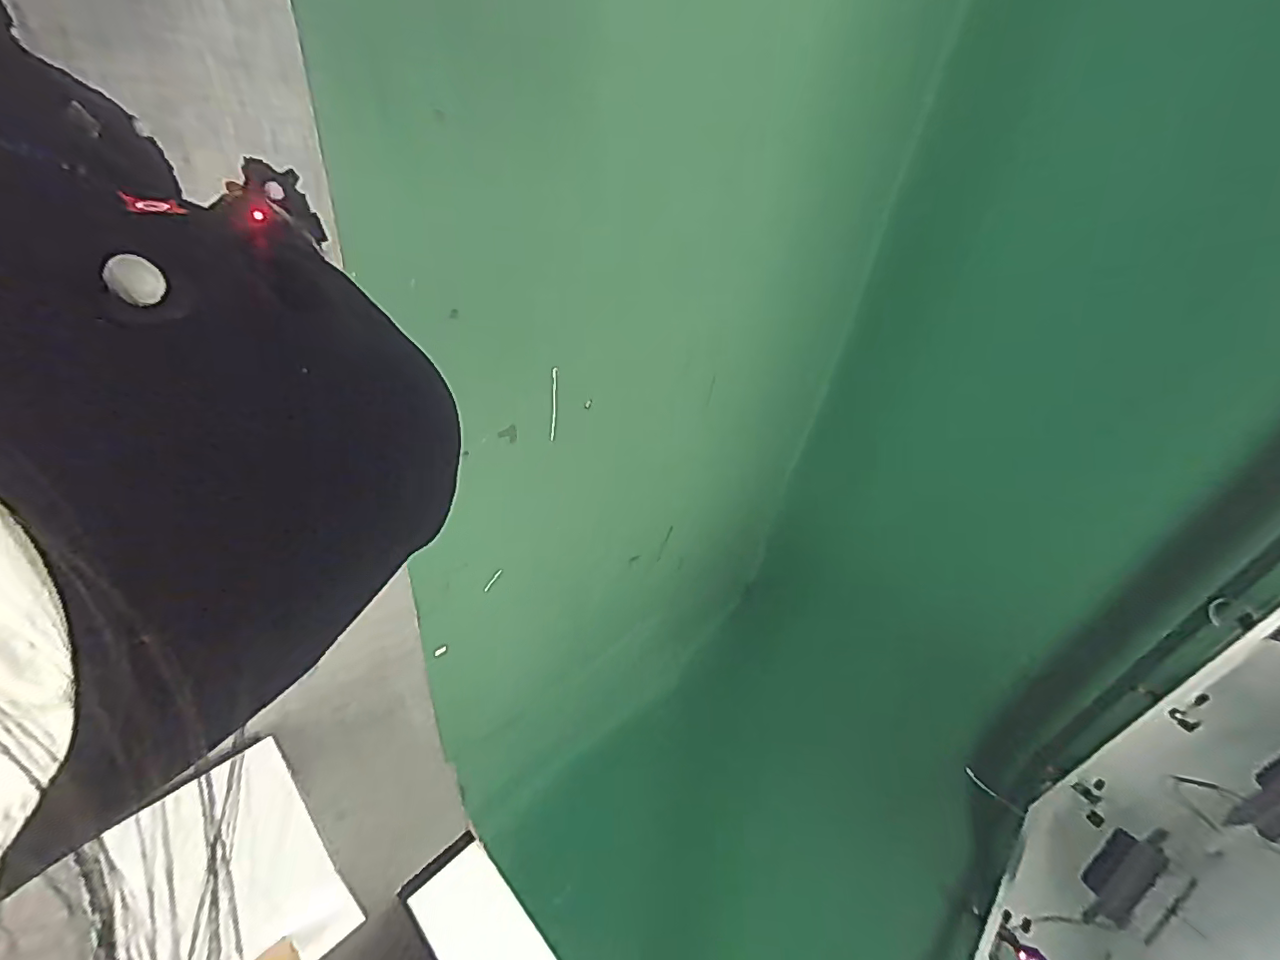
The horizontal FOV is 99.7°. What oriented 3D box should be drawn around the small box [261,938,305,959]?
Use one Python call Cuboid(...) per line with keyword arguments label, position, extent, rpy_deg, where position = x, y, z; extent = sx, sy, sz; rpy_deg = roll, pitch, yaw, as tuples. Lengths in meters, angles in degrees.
Cuboid(label="small box", position=(-0.982, 1.386, 1.440), extent=(0.179, 0.176, 0.168), rpy_deg=(-26, 137, -38))
